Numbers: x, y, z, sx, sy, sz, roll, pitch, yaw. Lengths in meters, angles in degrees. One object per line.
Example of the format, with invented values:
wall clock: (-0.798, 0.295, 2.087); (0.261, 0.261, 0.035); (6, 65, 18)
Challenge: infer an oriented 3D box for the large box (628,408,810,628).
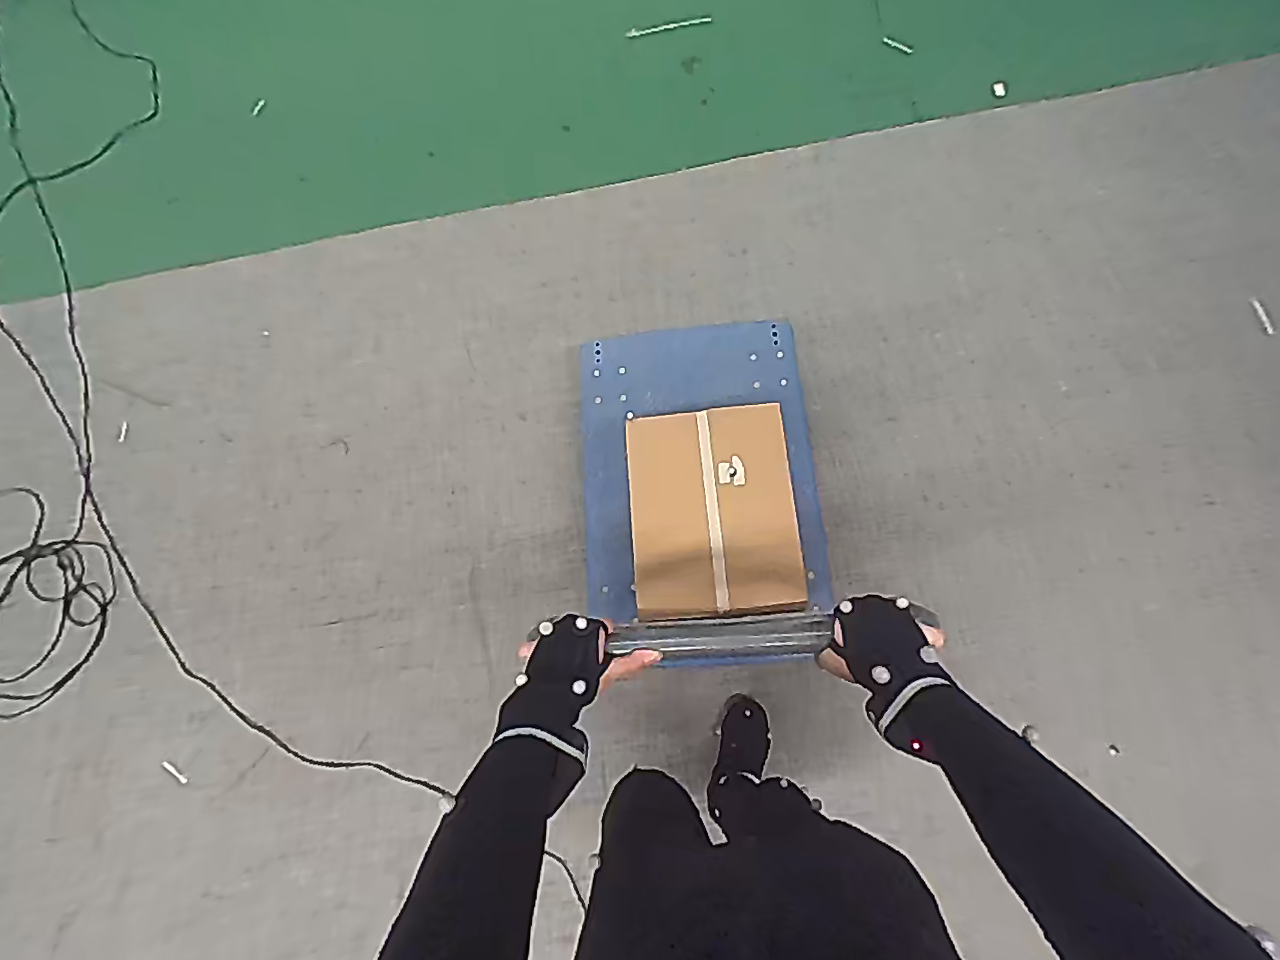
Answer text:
large box: (0.160, 0.103, 1.183); (0.320, 0.320, 0.408); (-6, 73, 5)
